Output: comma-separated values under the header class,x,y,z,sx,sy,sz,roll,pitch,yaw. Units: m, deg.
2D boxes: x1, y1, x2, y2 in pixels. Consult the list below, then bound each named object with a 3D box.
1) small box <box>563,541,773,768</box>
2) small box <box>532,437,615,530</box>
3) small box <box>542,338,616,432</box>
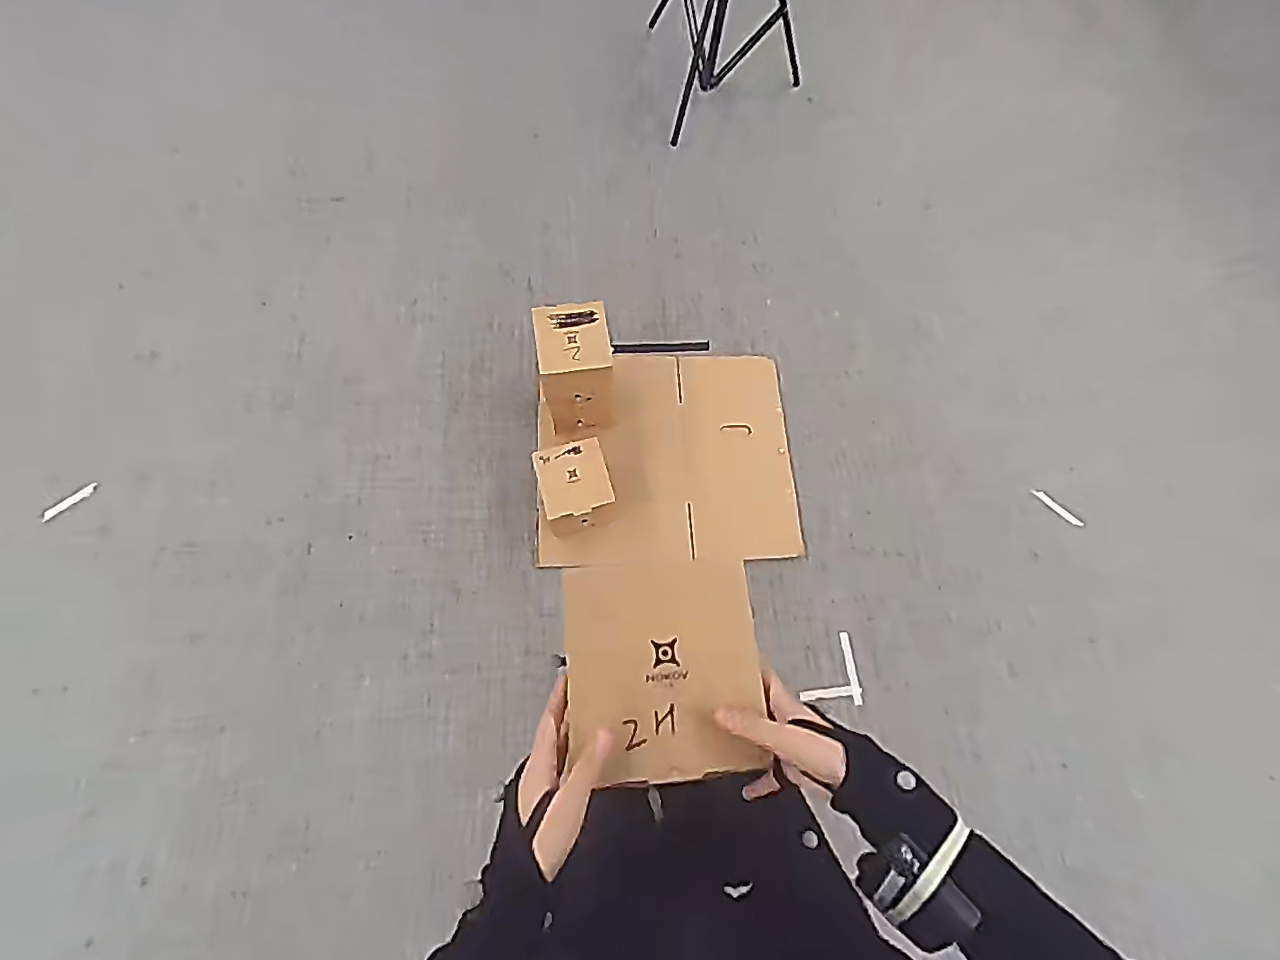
class,x,y,z,sx,sy,sz,roll,pitch,yaw
small box,0.010,0.169,0.531,0.168,0.176,0.179,-3,69,-9
small box,-0.161,0.016,1.346,0.168,0.176,0.179,-15,74,-9
small box,-0.162,-0.249,1.439,0.168,0.176,0.179,-11,73,-7
